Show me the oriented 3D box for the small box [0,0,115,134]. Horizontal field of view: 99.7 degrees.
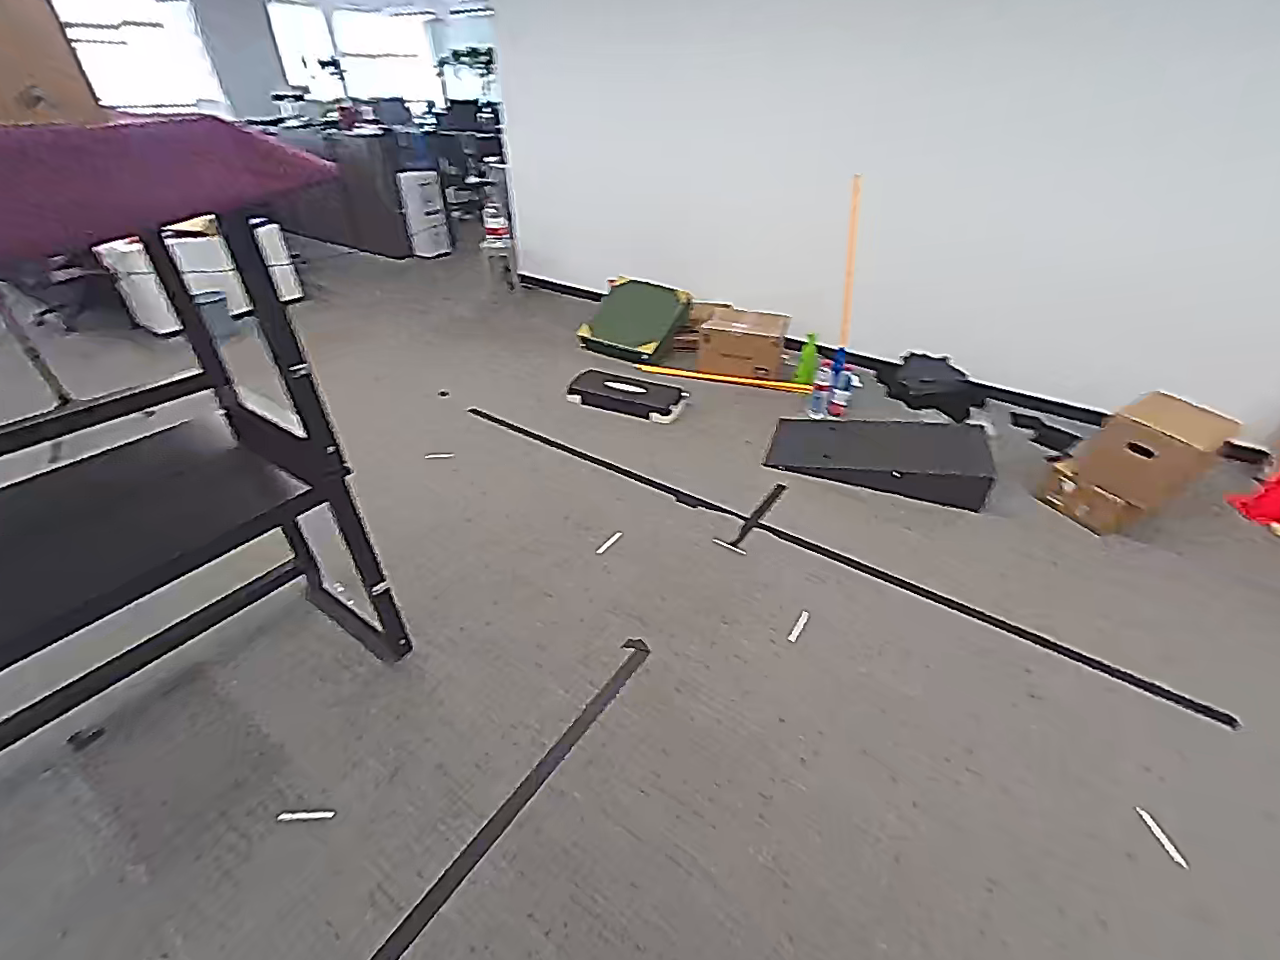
[{"bbox_3d":[-0.992,-0.656,0.856,0.168,0.176,0.179,21,40,27],"label":"small box"}]
